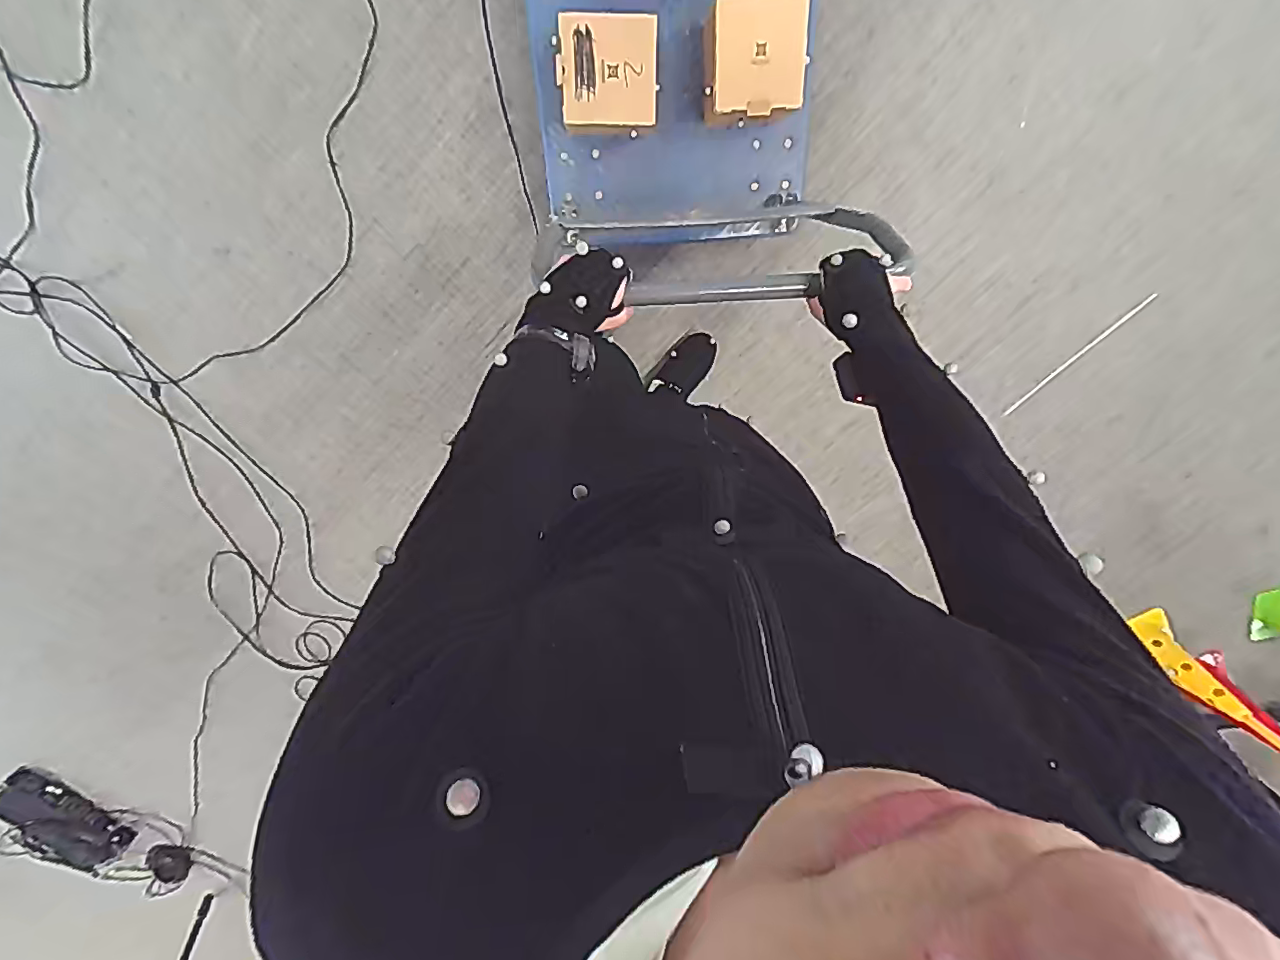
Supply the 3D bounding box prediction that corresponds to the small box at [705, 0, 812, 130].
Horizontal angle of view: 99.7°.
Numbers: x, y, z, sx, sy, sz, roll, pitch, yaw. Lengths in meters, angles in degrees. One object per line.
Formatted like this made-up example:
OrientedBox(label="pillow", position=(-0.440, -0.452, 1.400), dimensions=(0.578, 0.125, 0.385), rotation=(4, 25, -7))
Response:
OrientedBox(label="small box", position=(0.219, -0.795, 1.047), dimensions=(0.168, 0.176, 0.179), rotation=(-3, 117, 0))
